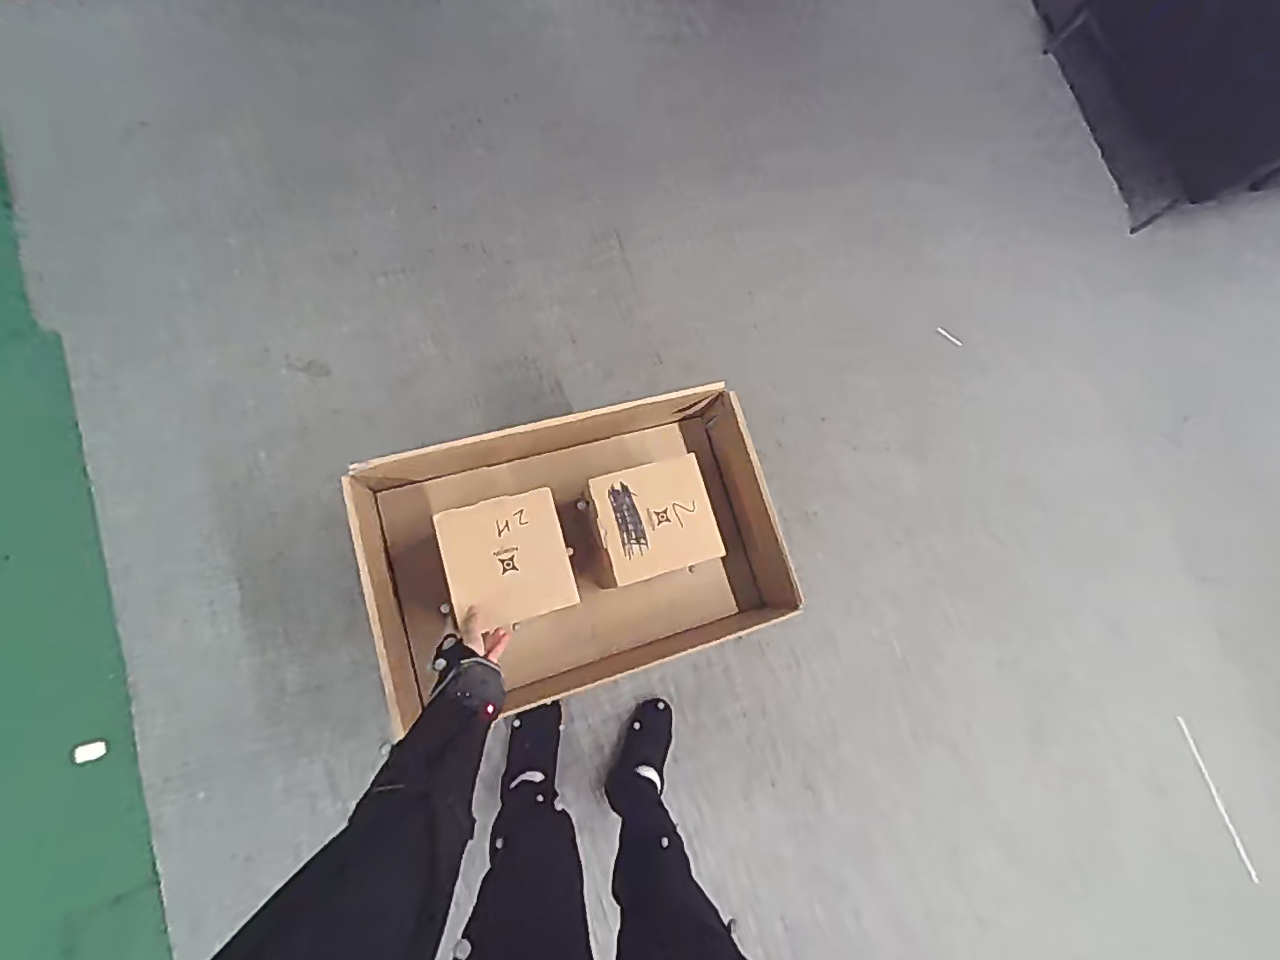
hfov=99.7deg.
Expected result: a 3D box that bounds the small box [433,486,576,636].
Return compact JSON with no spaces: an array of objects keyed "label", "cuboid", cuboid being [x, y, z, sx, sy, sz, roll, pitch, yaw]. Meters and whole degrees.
[{"label":"small box","cuboid":[-0.204,0.124,0.819,0.168,0.176,0.179,-13,80,-18]}]
